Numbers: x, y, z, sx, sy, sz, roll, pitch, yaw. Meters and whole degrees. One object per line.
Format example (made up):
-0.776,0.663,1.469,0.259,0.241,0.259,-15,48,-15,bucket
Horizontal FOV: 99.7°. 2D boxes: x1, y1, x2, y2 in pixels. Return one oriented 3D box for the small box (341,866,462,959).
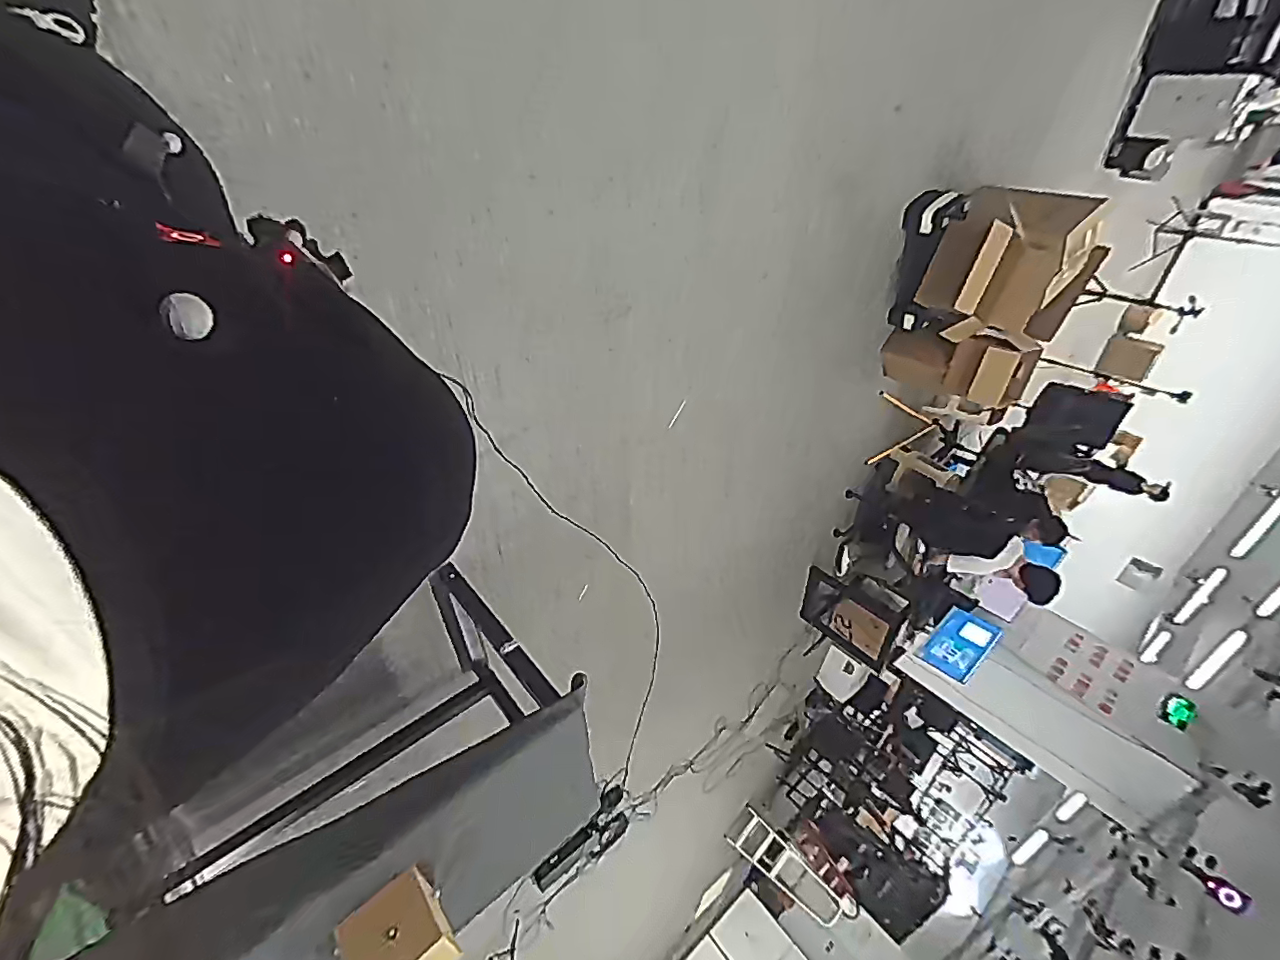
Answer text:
-0.517,0.991,1.165,0.179,0.176,0.168,-31,136,-27,small box
